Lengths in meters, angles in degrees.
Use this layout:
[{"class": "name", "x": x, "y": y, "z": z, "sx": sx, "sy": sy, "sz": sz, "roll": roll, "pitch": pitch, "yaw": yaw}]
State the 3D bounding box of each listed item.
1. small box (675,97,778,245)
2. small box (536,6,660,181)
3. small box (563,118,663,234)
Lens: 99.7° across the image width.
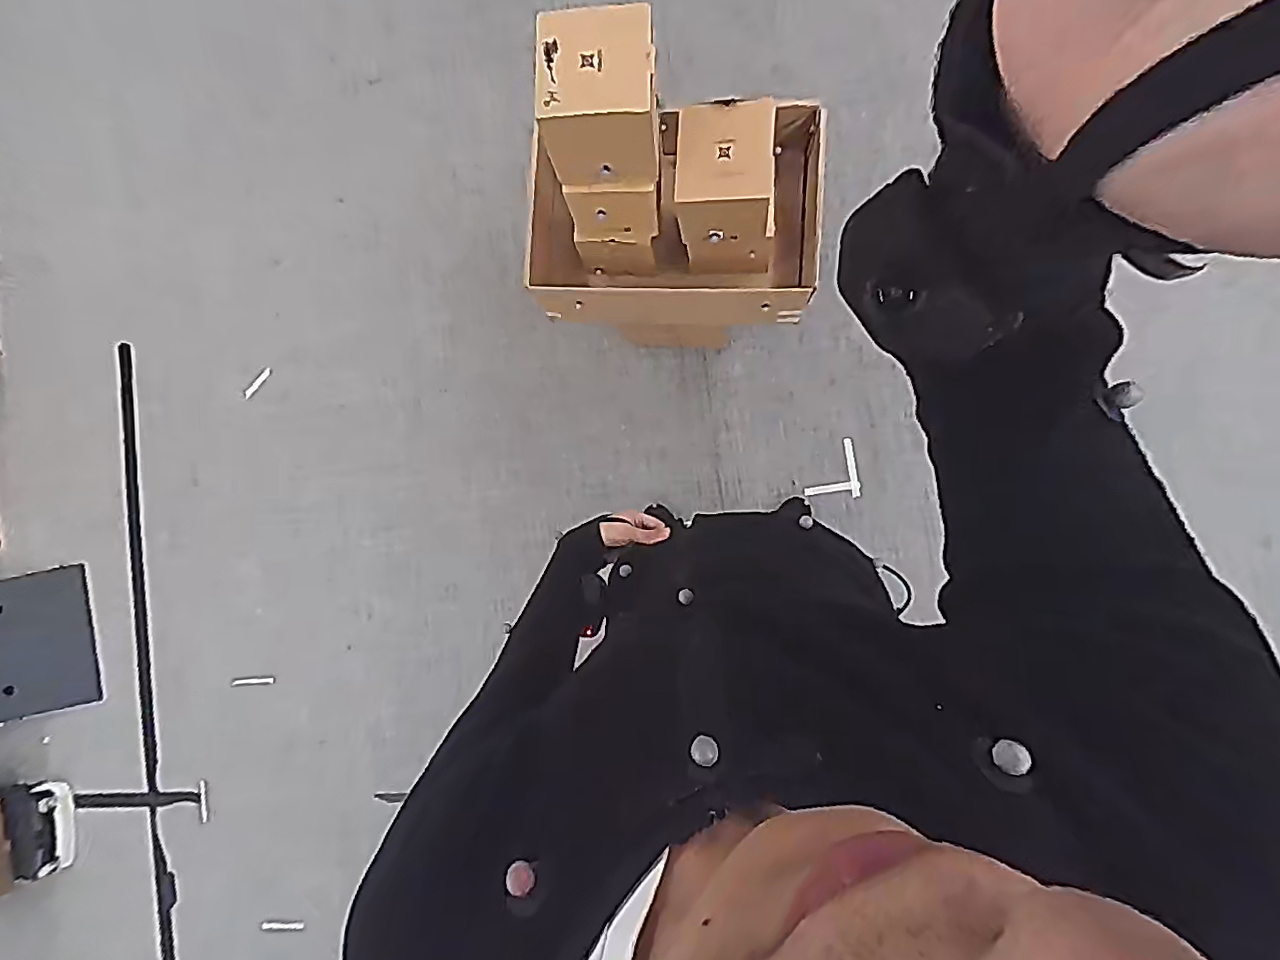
[{"class": "small box", "x": 0.159, "y": -0.560, "z": 0.999, "sx": 0.168, "sy": 0.176, "sz": 0.179, "roll": 3, "pitch": 88, "yaw": 10}, {"class": "small box", "x": -0.059, "y": -0.607, "z": 0.868, "sx": 0.179, "sy": 0.176, "sz": 0.168, "roll": 1, "pitch": 87, "yaw": 5}, {"class": "small box", "x": -0.044, "y": -0.589, "z": 1.031, "sx": 0.168, "sy": 0.176, "sz": 0.179, "roll": 2, "pitch": 87, "yaw": 5}]
